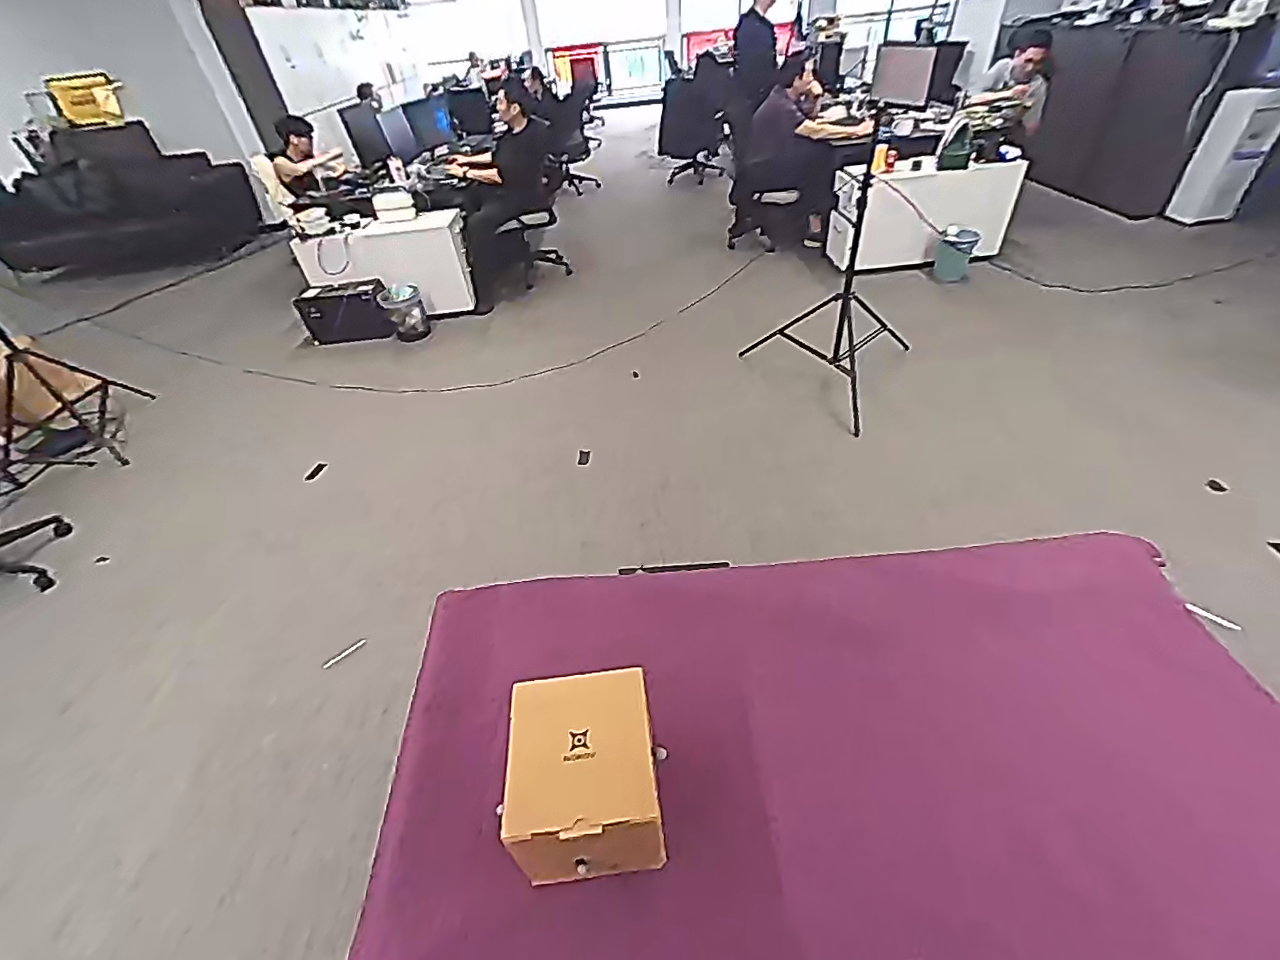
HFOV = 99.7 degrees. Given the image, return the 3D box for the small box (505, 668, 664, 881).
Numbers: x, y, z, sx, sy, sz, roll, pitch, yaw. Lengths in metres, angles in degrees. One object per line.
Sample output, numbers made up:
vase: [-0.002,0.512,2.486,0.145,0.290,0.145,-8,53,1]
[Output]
small box: [-0.063,0.364,0.674,0.168,0.176,0.179,-7,41,-3]
